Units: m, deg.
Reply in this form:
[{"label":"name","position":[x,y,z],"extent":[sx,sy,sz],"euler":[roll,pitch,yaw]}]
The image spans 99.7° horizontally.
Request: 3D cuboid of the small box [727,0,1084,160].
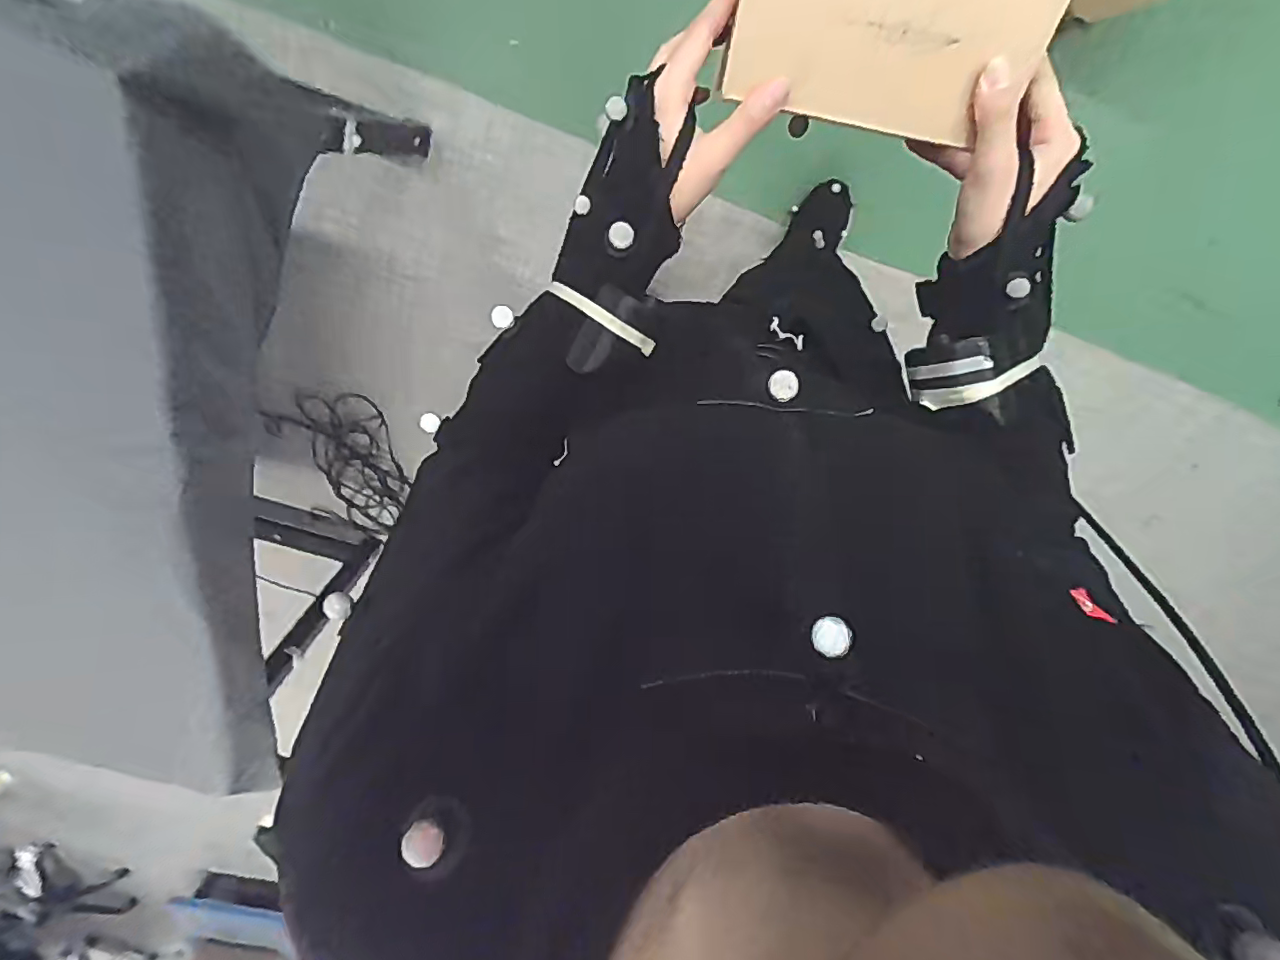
[{"label":"small box","position":[0.154,-0.318,0.327],"extent":[0.168,0.176,0.179],"euler":[11,127,-2]}]
